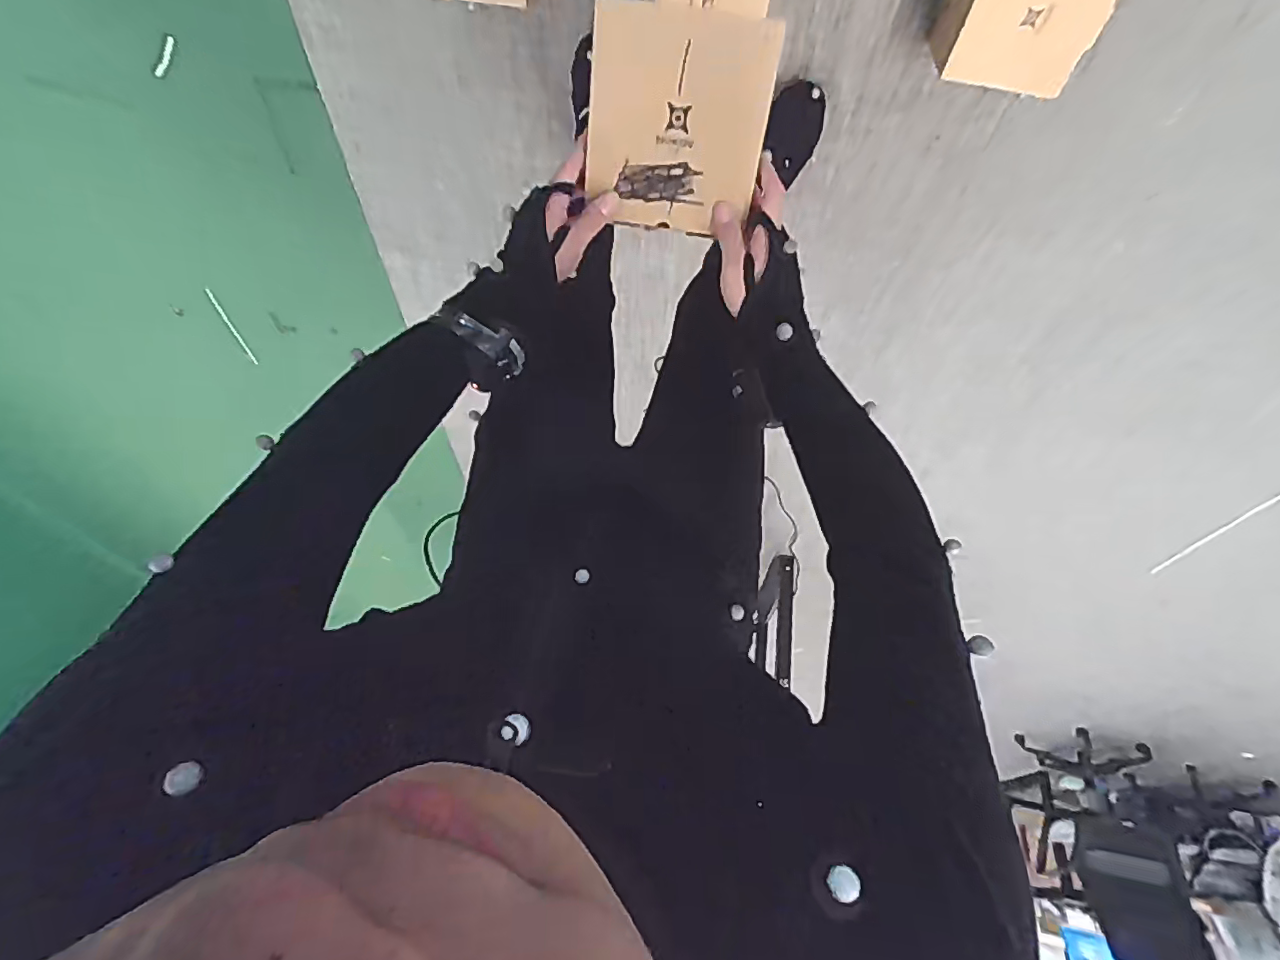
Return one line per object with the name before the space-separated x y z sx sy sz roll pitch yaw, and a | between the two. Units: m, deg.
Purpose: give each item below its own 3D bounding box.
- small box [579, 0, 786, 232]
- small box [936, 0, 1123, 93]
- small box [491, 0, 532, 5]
small box | 0.040 -0.371 0.552 0.168 0.176 0.179 10 122 2
small box | 0.545 -0.679 0.757 0.179 0.176 0.168 11 144 3
small box | -0.229 -0.842 0.797 0.168 0.176 0.179 11 143 5
